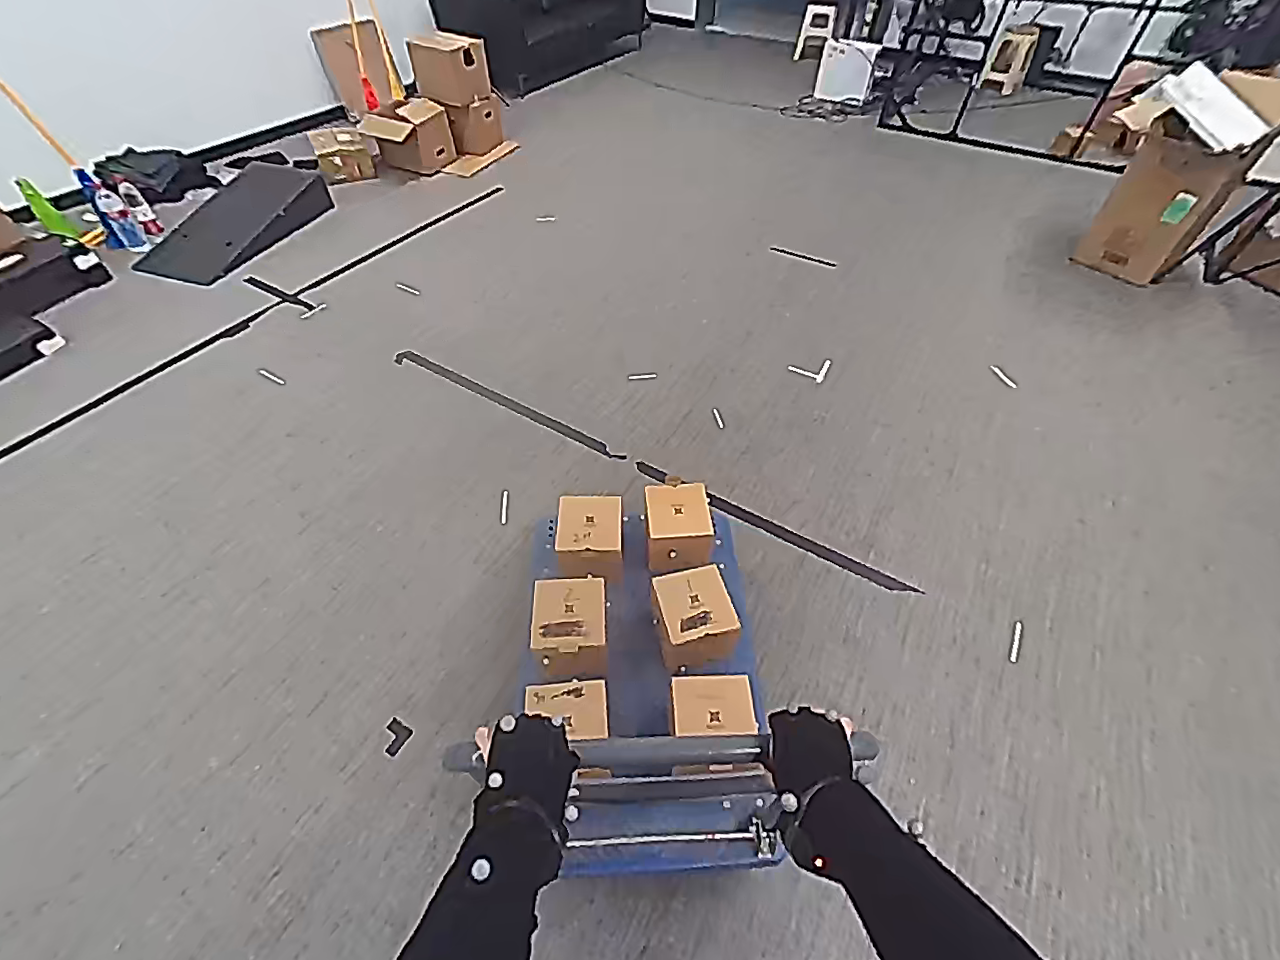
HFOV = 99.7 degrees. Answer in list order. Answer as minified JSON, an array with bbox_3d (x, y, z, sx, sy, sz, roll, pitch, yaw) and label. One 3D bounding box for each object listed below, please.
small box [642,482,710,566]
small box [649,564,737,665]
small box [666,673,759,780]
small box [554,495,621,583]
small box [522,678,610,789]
[{"bbox_3d":[0.093,0.128,1.499,0.168,0.176,0.179,-3,50,-4],"label":"small box"},{"bbox_3d":[0.121,0.334,1.322,0.168,0.176,0.179,-10,50,-11],"label":"small box"},{"bbox_3d":[0.147,0.531,1.156,0.168,0.176,0.179,0,49,-3],"label":"small box"},{"bbox_3d":[-0.137,0.159,1.462,0.168,0.176,0.179,0,50,-1],"label":"small box"},{"bbox_3d":[-0.151,0.538,1.138,0.168,0.176,0.179,-3,50,-5],"label":"small box"}]
